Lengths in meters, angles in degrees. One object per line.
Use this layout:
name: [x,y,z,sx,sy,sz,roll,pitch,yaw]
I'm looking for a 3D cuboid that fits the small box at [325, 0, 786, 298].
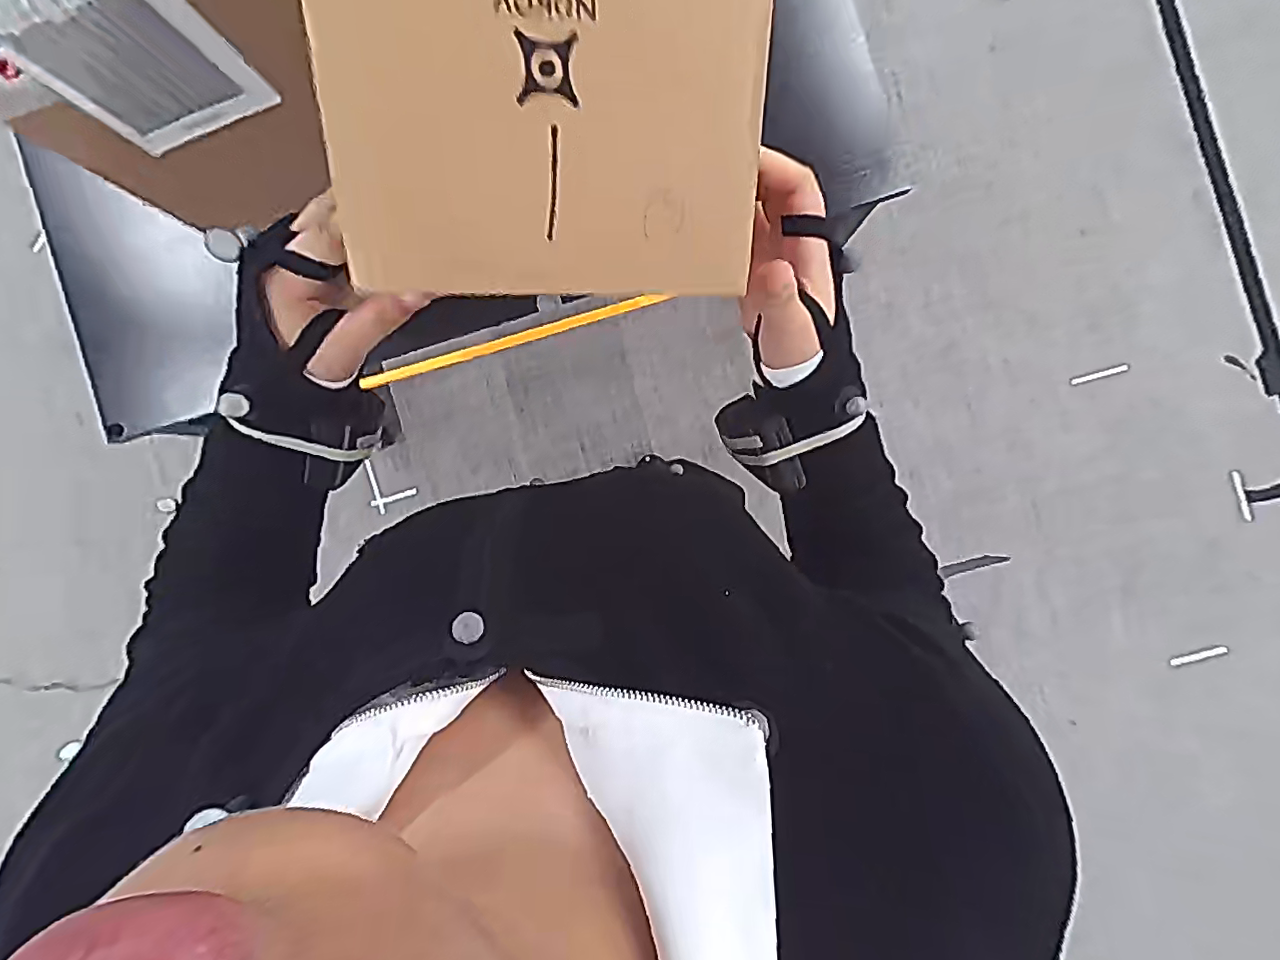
small box: [-0.039,-0.189,0.271,0.168,0.176,0.179,-2,112,-8]
